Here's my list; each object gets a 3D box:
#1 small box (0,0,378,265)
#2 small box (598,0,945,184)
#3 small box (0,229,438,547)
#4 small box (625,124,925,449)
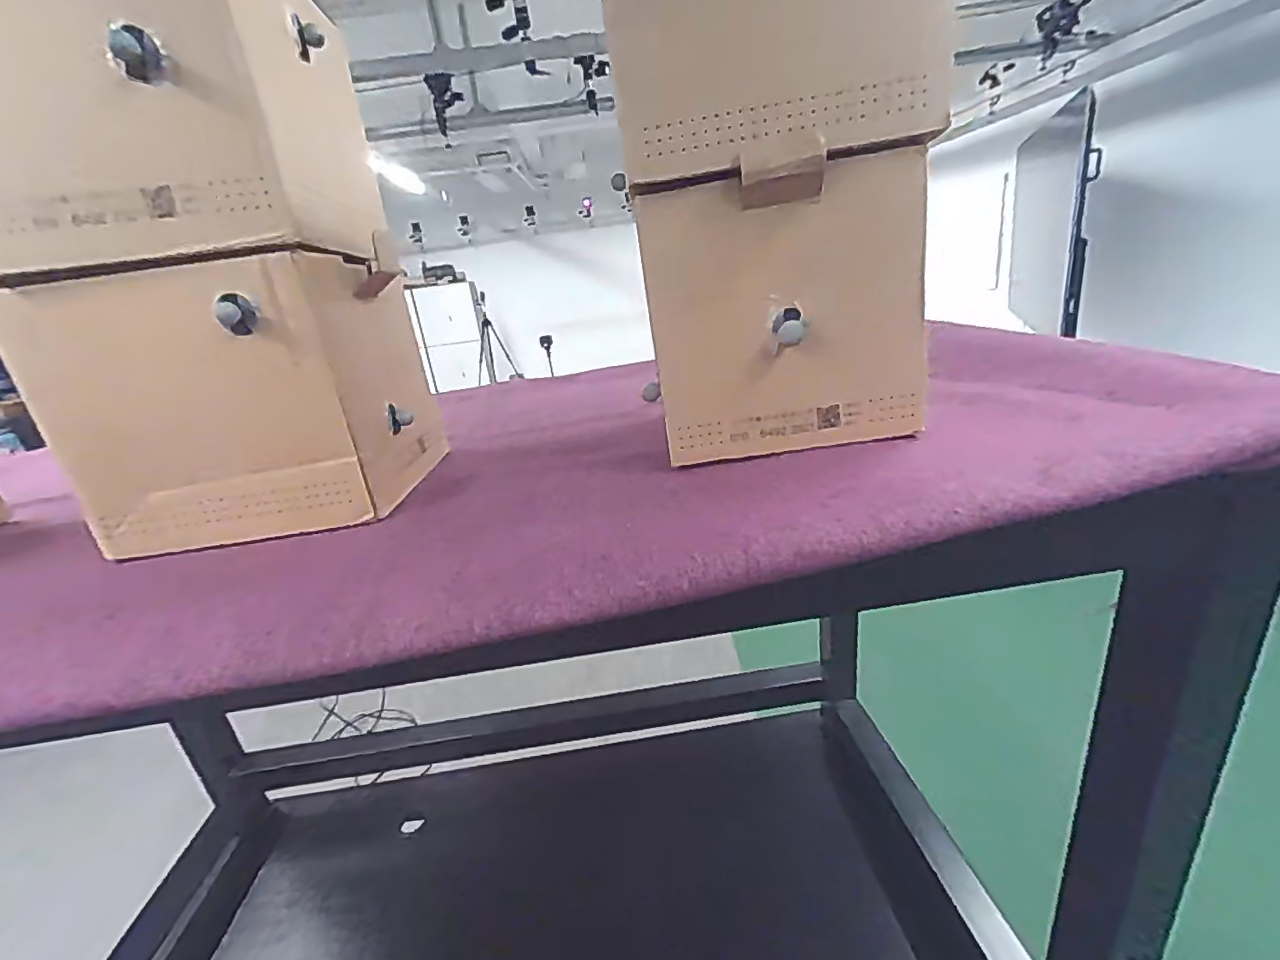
[{"bbox_3d":[-0.283,-0.217,0.327,0.168,0.176,0.179,-8,18,-5],"label":"small box"},{"bbox_3d":[0.066,-0.277,0.333,0.179,0.176,0.168,-7,18,4],"label":"small box"},{"bbox_3d":[-0.268,-0.065,0.381,0.179,0.176,0.168,-8,19,-2],"label":"small box"},{"bbox_3d":[0.089,-0.125,0.394,0.168,0.176,0.179,-8,19,5],"label":"small box"}]
